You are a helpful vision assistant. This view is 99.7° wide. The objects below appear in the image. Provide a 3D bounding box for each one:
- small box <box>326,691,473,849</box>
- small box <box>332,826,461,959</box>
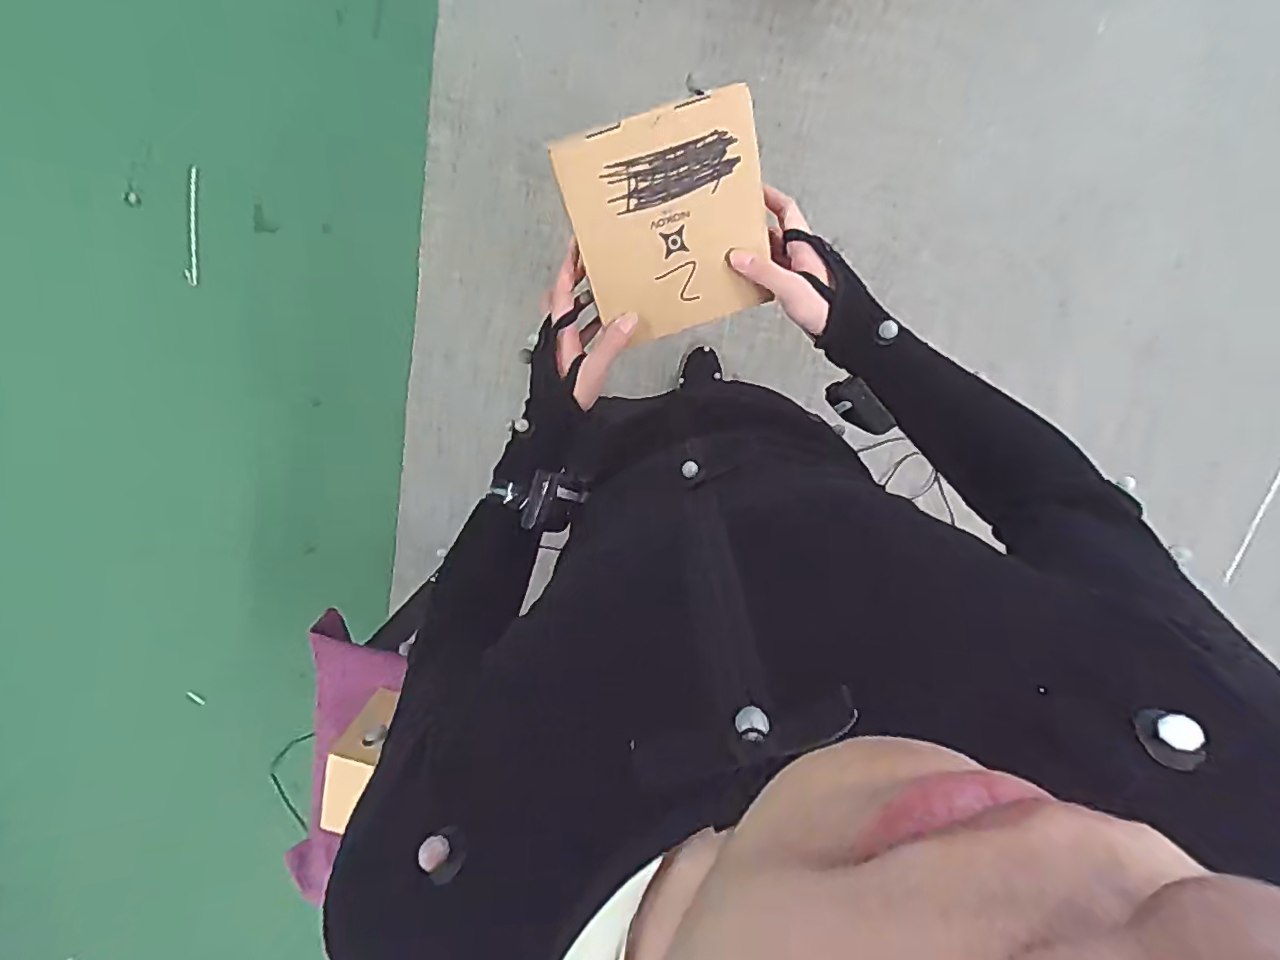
[{"bbox_3d":[-0.427,0.511,0.977,0.179,0.176,0.168,15,108,-1],"label":"small box"},{"bbox_3d":[-0.473,0.813,1.068,0.179,0.176,0.168,6,105,1],"label":"small box"}]
